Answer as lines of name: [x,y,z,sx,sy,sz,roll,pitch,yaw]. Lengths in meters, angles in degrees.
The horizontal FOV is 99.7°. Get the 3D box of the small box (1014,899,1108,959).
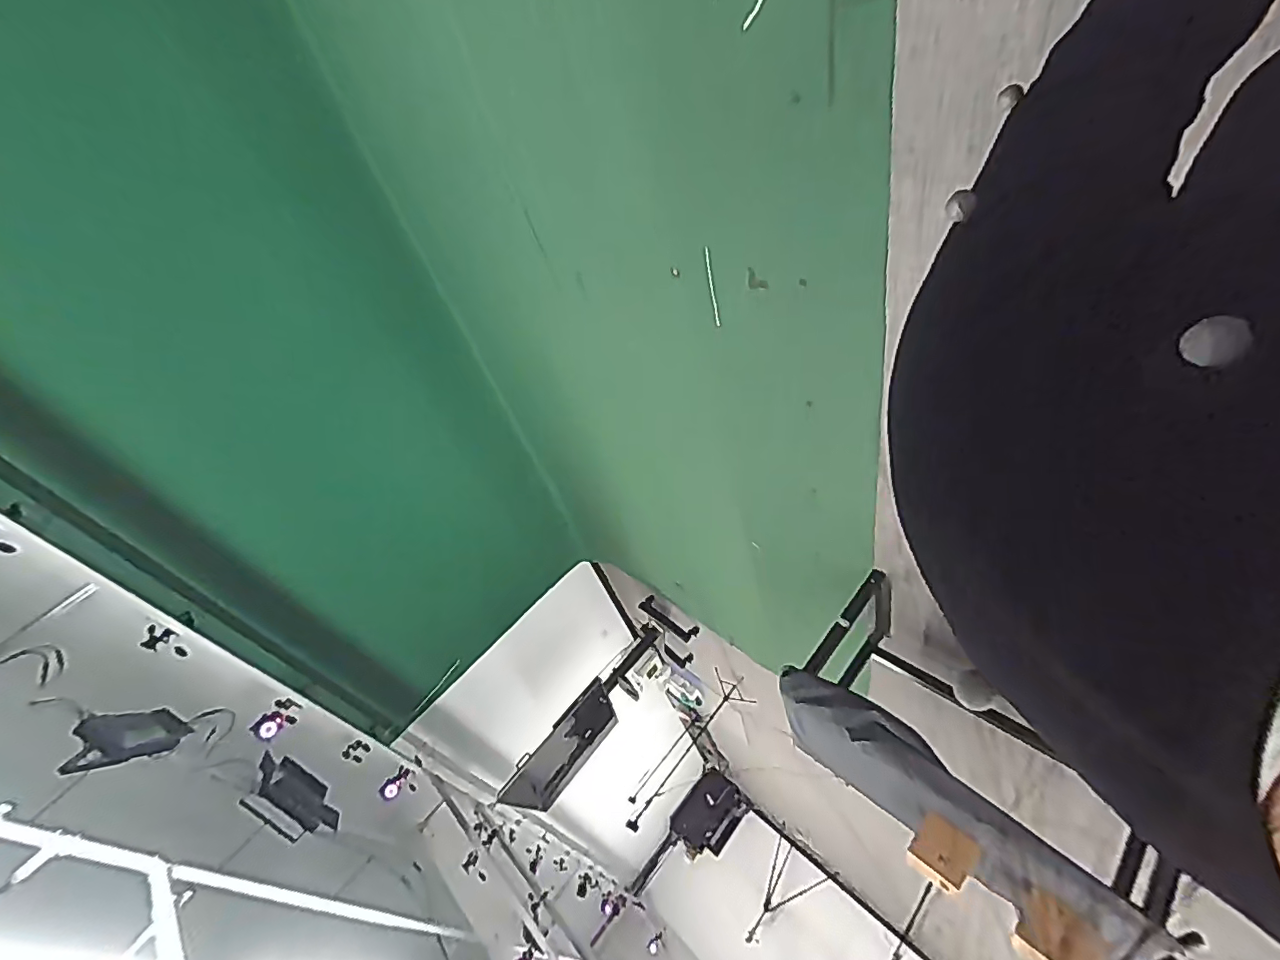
small box: [1.302,1.449,1.679,0.179,0.176,0.168,24,148,44]

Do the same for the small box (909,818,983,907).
small box: [1.070,1.334,1.890,0.179,0.176,0.168,26,149,41]
